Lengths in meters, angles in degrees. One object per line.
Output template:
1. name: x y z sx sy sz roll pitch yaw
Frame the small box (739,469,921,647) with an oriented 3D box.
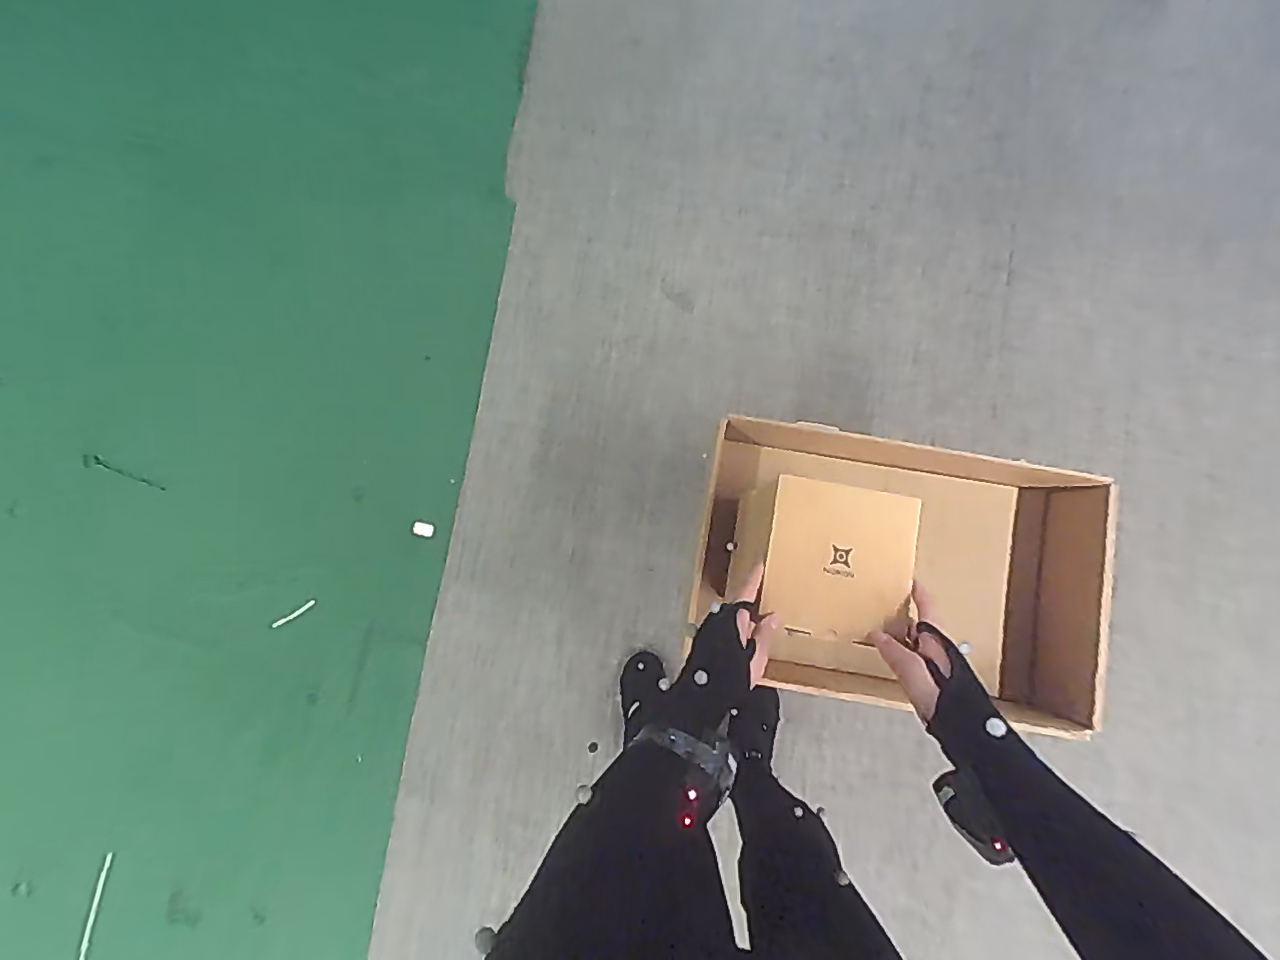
1. small box: 0.229 0.097 0.688 0.168 0.176 0.179 10 82 3
